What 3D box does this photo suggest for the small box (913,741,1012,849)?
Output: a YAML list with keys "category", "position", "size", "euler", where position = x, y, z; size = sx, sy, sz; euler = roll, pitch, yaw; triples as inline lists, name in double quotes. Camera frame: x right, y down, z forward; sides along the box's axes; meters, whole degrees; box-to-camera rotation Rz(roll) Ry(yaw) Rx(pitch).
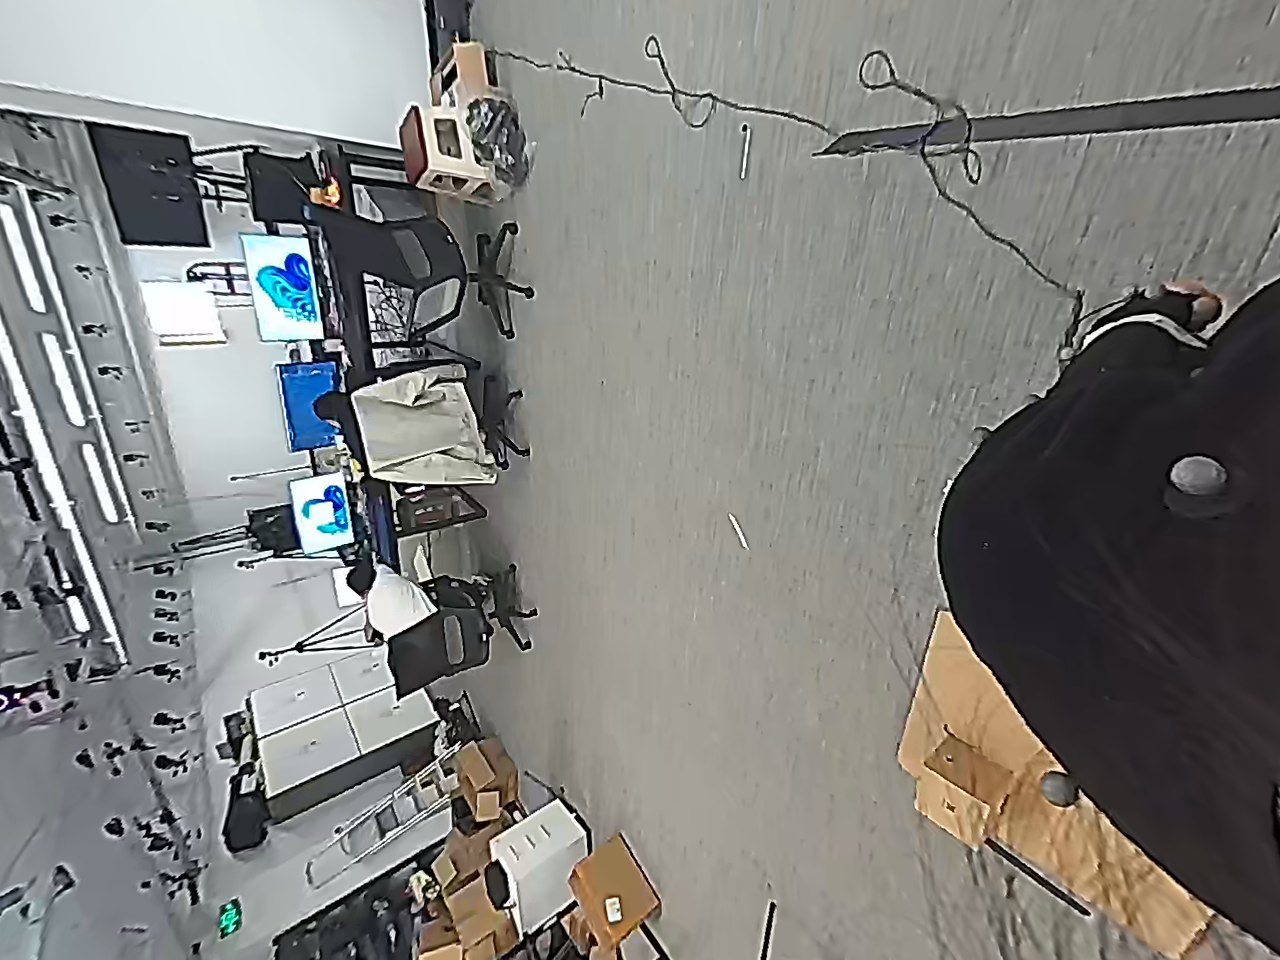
- category: "small box"
  position: [0.905, 0.870, 1.521]
  size: [0.179, 0.176, 0.168]
  euler: [20, 118, 47]
